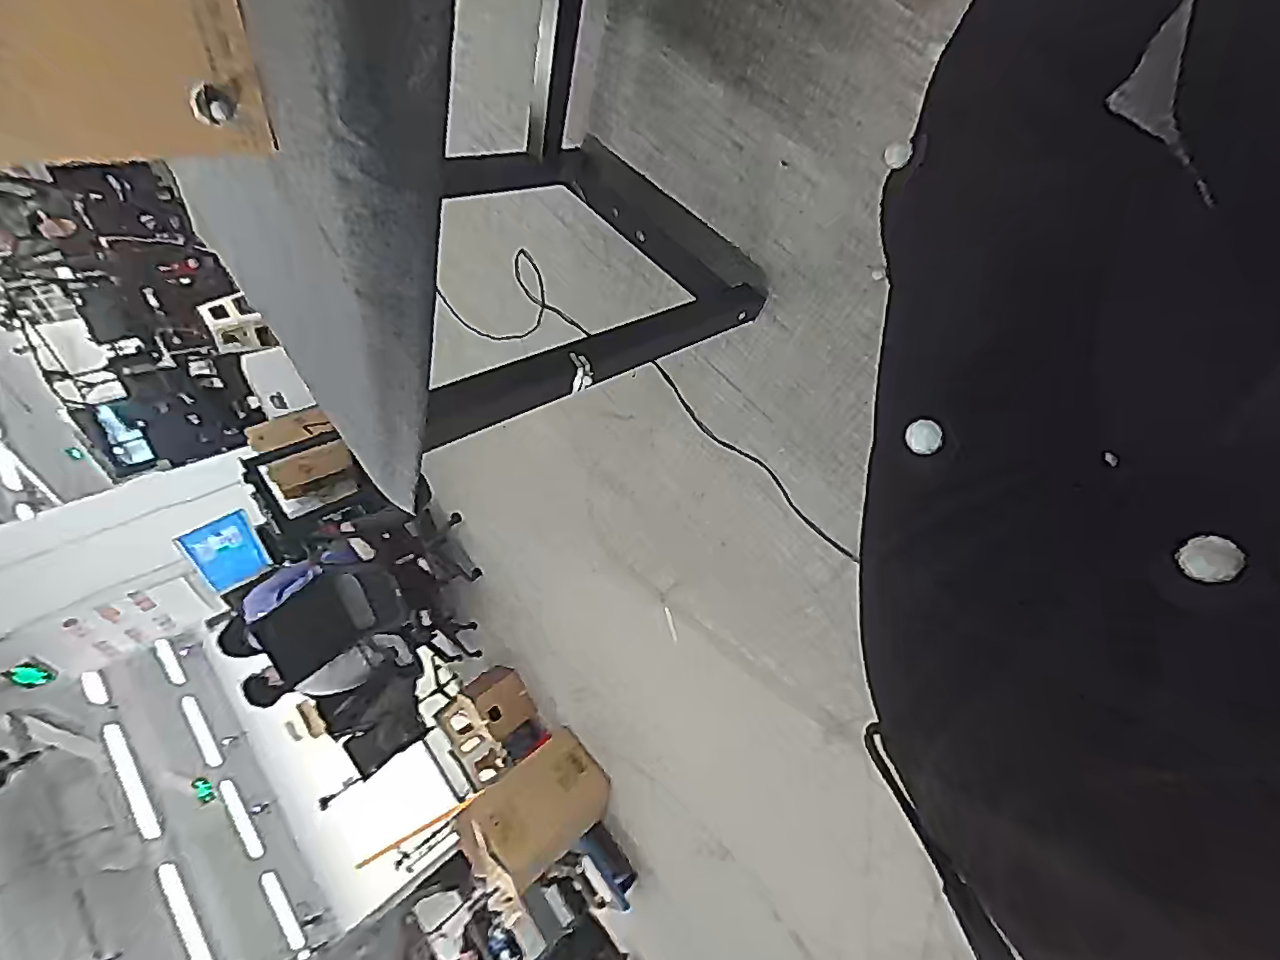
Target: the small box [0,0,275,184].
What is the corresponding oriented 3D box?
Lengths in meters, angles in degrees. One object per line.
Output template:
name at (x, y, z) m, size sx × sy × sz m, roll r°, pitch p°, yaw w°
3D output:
small box at (-0.368, -0.322, 0.350) m, size 0.179 × 0.176 × 0.168 m, roll 47°, pitch 144°, yaw 23°
